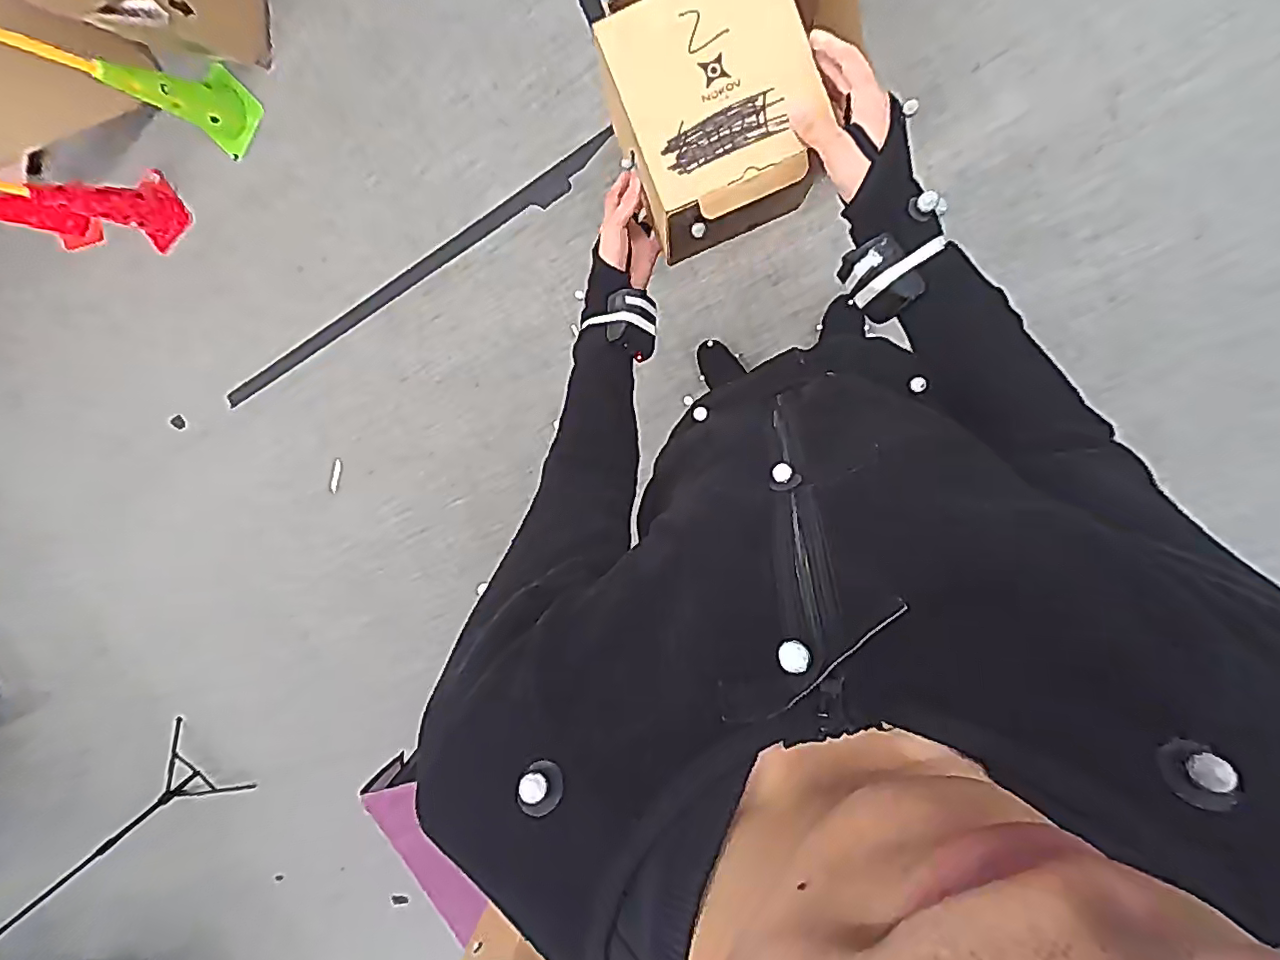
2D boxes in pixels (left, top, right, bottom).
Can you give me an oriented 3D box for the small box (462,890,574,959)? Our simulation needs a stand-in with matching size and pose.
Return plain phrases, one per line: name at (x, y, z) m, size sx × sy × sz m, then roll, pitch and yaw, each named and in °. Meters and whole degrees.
small box at (-0.286, 1.119, 1.274) m, size 0.179 × 0.176 × 0.168 m, roll -29°, pitch 99°, yaw 20°
